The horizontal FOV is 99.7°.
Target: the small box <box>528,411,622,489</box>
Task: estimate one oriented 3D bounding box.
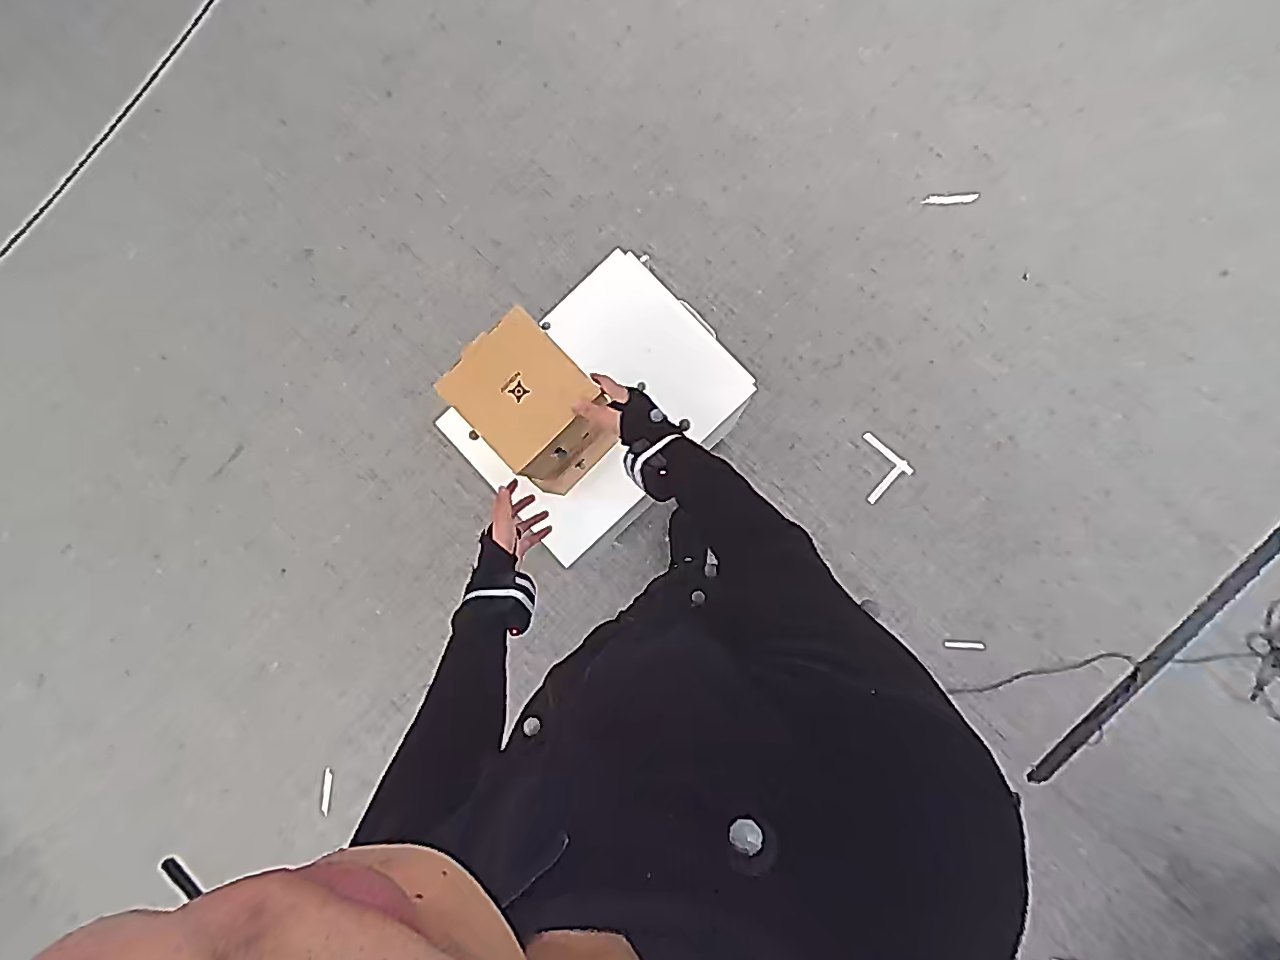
[{"bbox_3d":[-0.148,-0.097,0.980,0.168,0.176,0.179,45,89,5],"label":"small box"}]

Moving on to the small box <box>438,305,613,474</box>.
[{"bbox_3d":[-0.159,-0.123,0.819,0.168,0.176,0.179,-45,84,0],"label":"small box"}]
